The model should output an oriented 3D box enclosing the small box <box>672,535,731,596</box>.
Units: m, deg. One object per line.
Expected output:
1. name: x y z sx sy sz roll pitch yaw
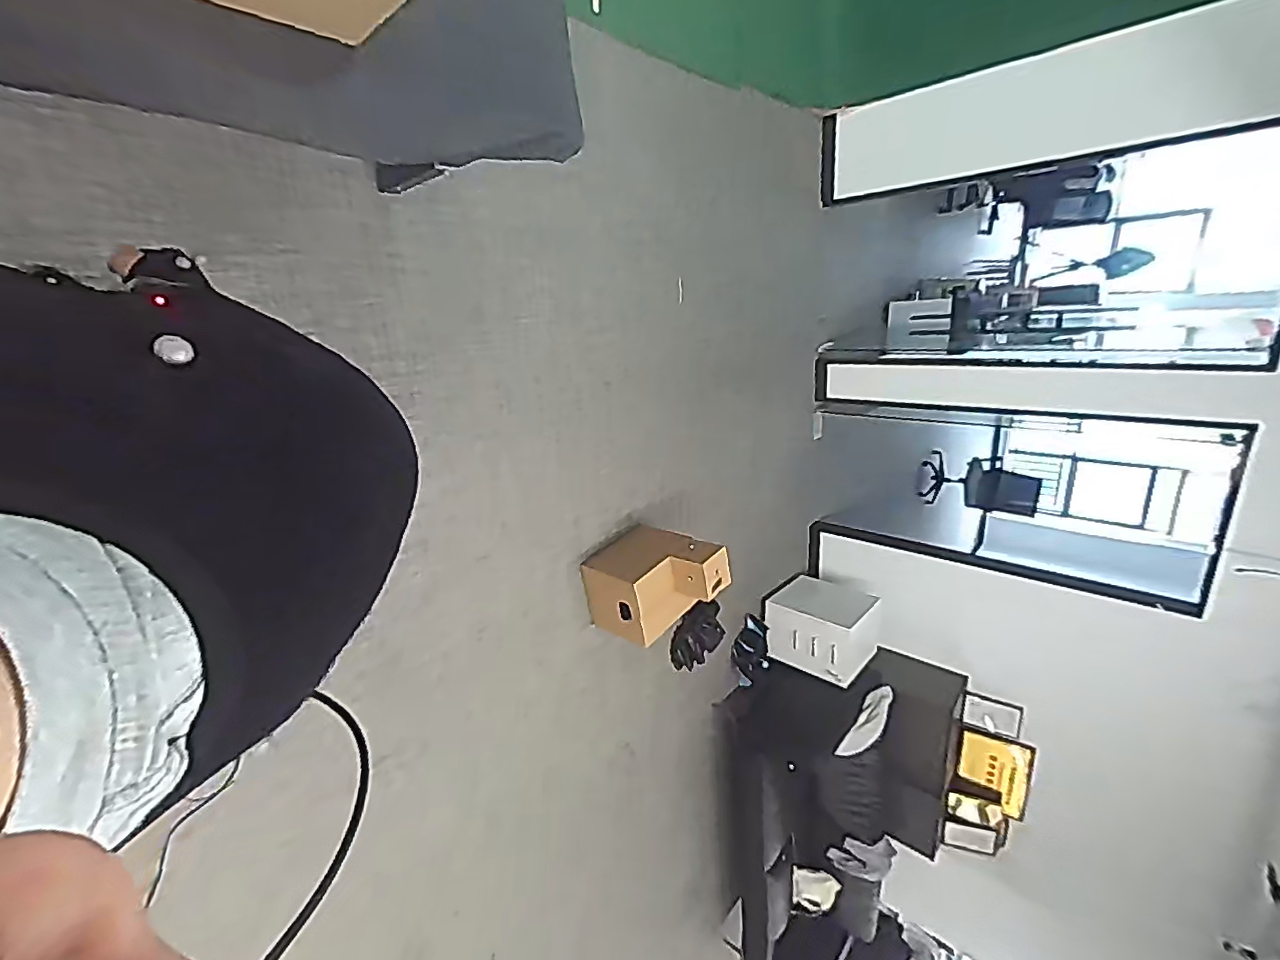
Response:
1. small box: 0.252 0.349 2.233 0.168 0.176 0.179 -30 116 -41
